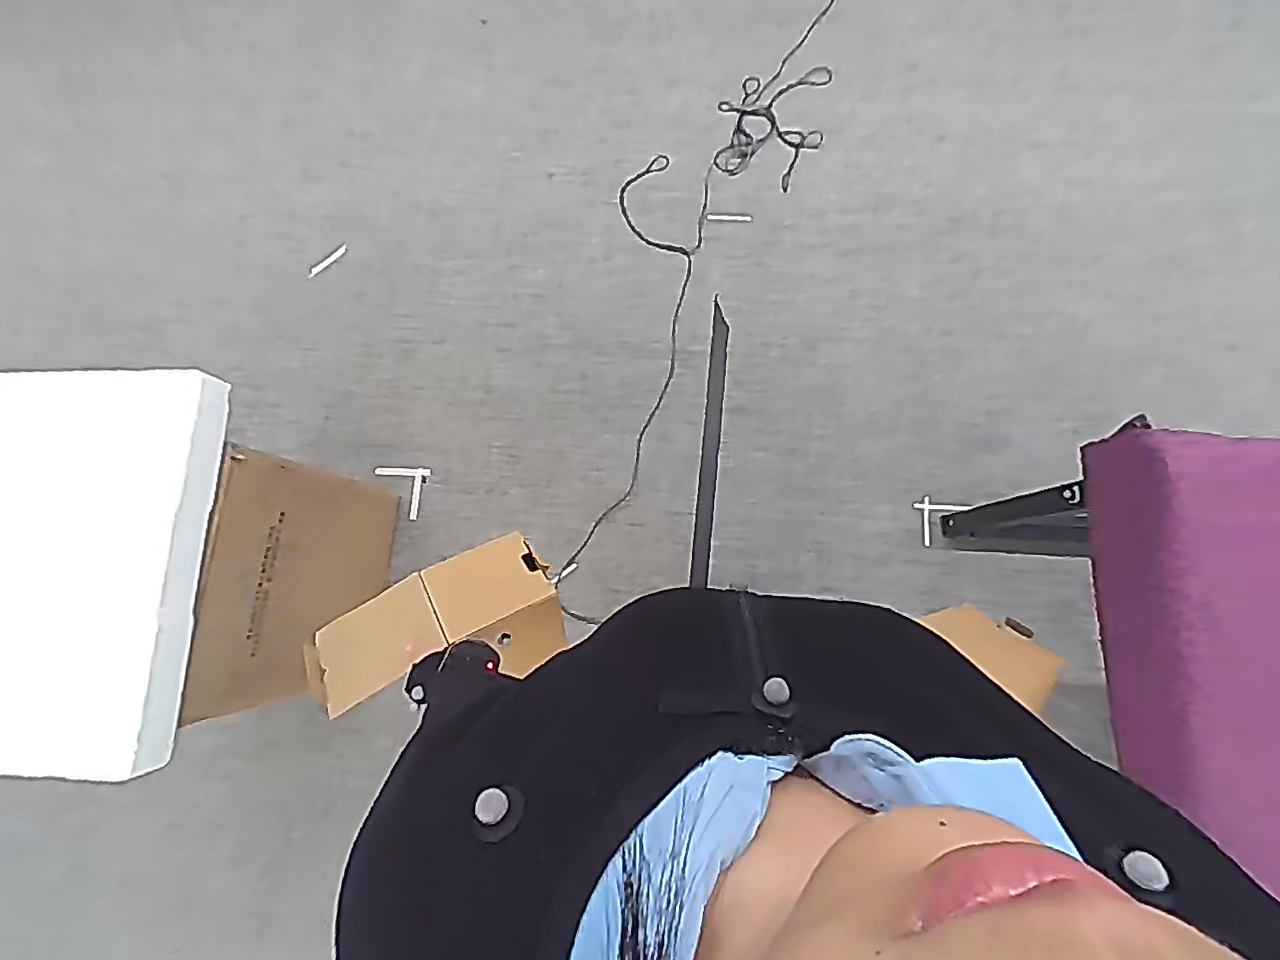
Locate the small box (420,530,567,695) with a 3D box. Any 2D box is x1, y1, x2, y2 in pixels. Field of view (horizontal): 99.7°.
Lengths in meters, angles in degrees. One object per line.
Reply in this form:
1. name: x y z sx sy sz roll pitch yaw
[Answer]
1. small box: -0.239 0.222 0.904 0.179 0.176 0.168 -23 45 -23
